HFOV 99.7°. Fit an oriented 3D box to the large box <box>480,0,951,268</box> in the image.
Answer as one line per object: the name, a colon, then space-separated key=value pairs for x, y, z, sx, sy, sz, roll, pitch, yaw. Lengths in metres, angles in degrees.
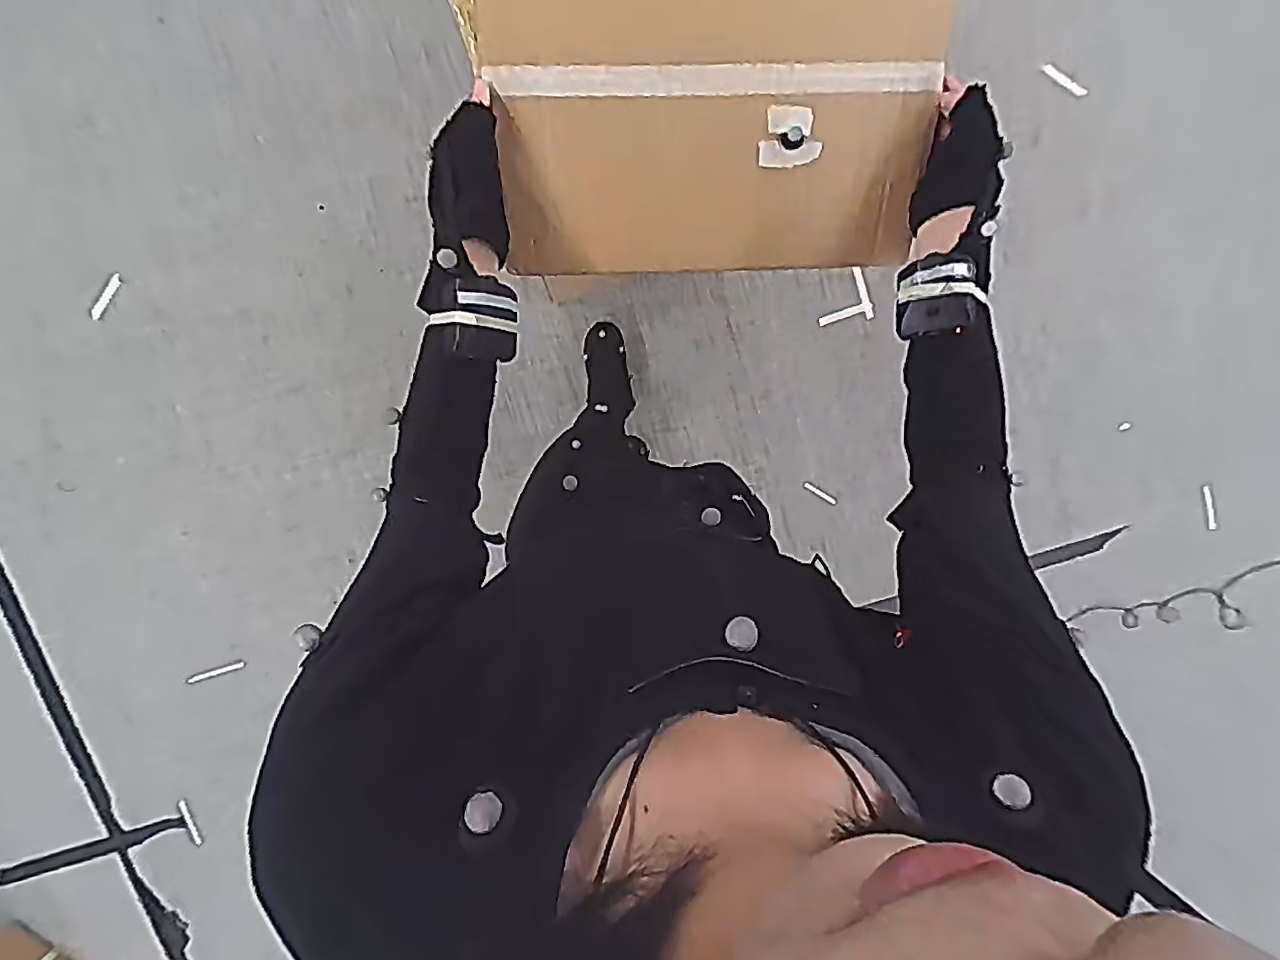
large box: x=0.054 y=-0.423 z=0.602 sx=0.408 sy=0.320 sz=0.320 roll=-4 pitch=117 yaw=-4
